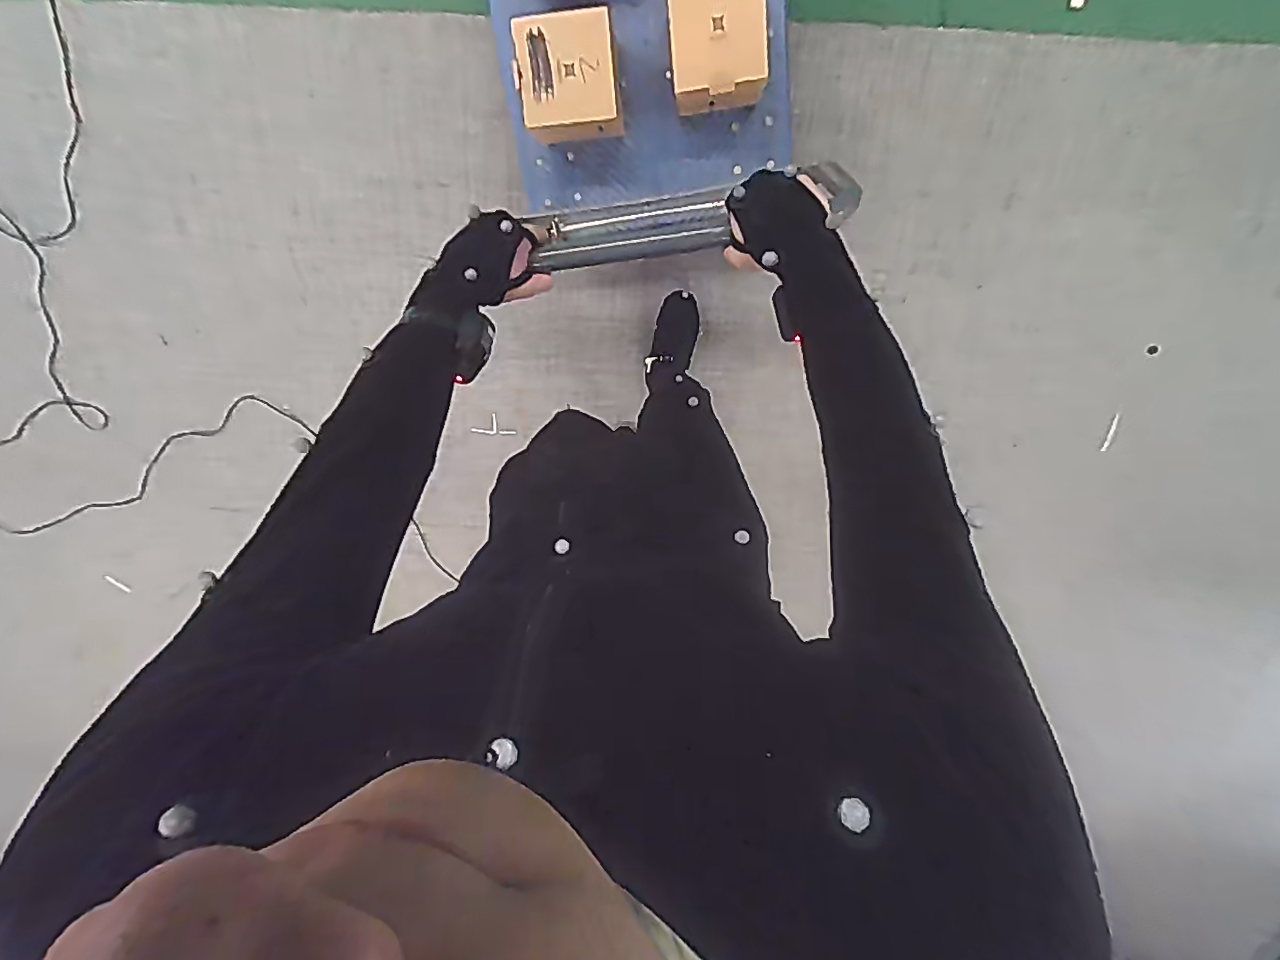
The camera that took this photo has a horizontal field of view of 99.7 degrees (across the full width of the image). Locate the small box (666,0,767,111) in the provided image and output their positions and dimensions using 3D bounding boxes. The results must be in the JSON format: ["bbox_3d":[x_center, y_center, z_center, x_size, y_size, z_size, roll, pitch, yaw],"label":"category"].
[{"bbox_3d":[0.137,-0.813,0.999,0.168,0.176,0.179,-5,113,6],"label":"small box"}]
